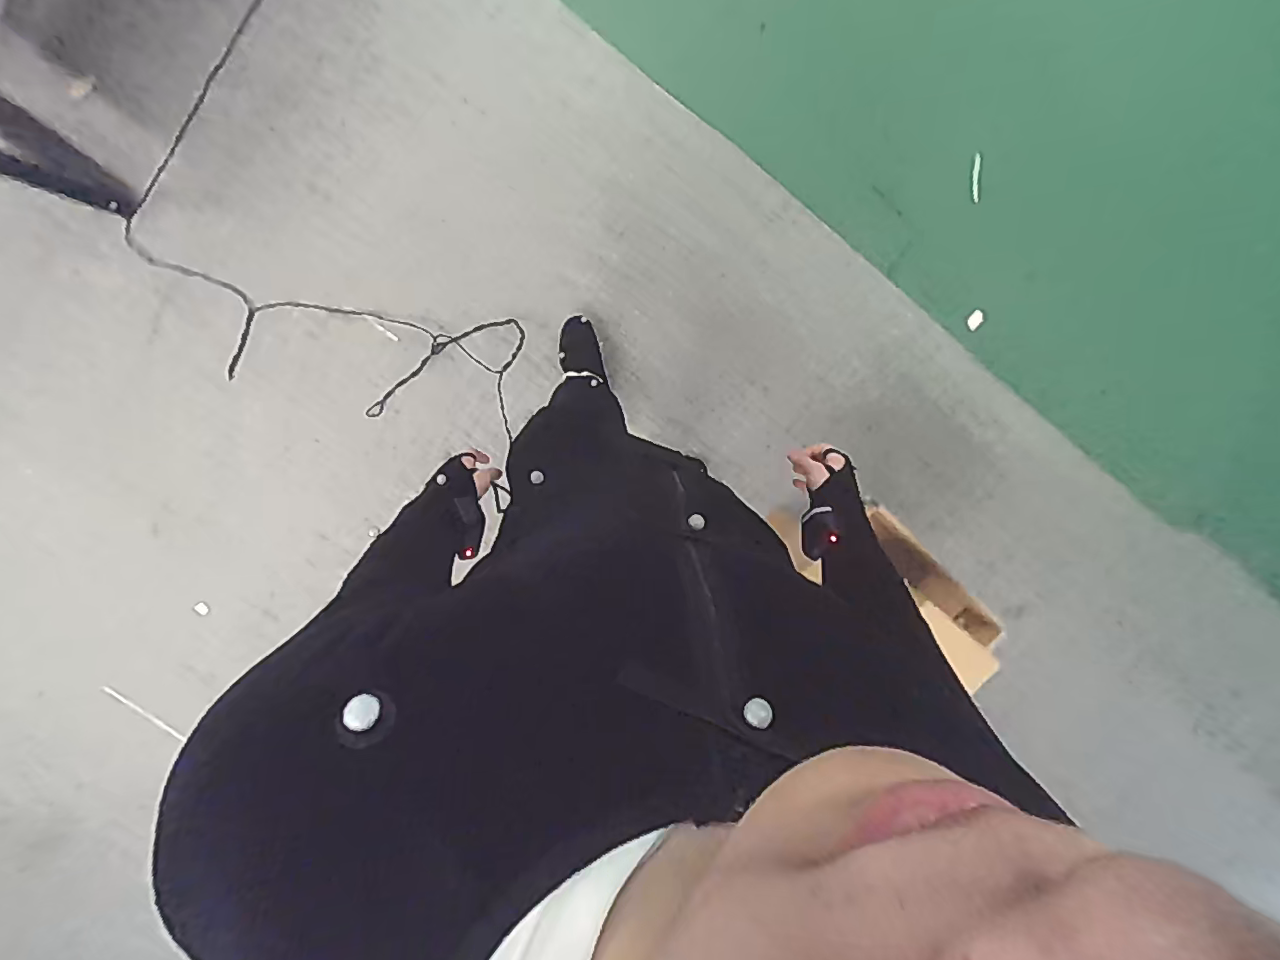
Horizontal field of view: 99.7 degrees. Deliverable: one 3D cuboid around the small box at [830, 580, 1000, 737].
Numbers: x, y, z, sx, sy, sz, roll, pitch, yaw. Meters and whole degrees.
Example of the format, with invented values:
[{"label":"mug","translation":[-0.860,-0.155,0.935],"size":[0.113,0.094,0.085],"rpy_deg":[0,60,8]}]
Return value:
[{"label":"small box","translation":[0.480,0.308,0.972],"size":[0.179,0.176,0.168],"rpy_deg":[41,96,-4]}]
